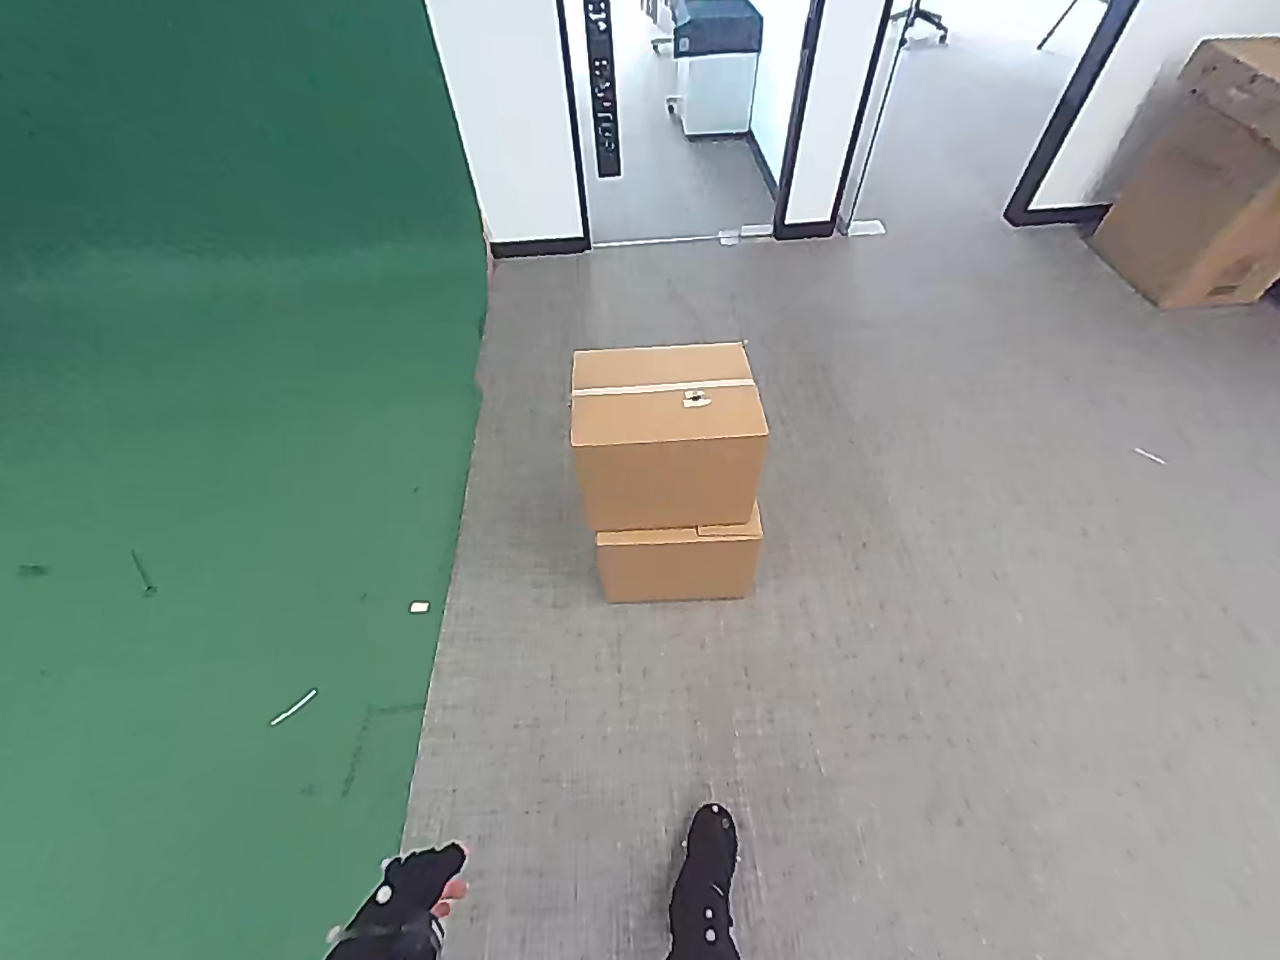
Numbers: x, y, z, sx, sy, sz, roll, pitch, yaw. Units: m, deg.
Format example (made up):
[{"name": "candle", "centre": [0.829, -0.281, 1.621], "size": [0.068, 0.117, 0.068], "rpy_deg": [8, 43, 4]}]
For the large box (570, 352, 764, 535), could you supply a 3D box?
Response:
[{"name": "large box", "centre": [0.048, -0.085, 1.299], "size": [0.408, 0.320, 0.320], "rpy_deg": [-2, 49, -1]}]
